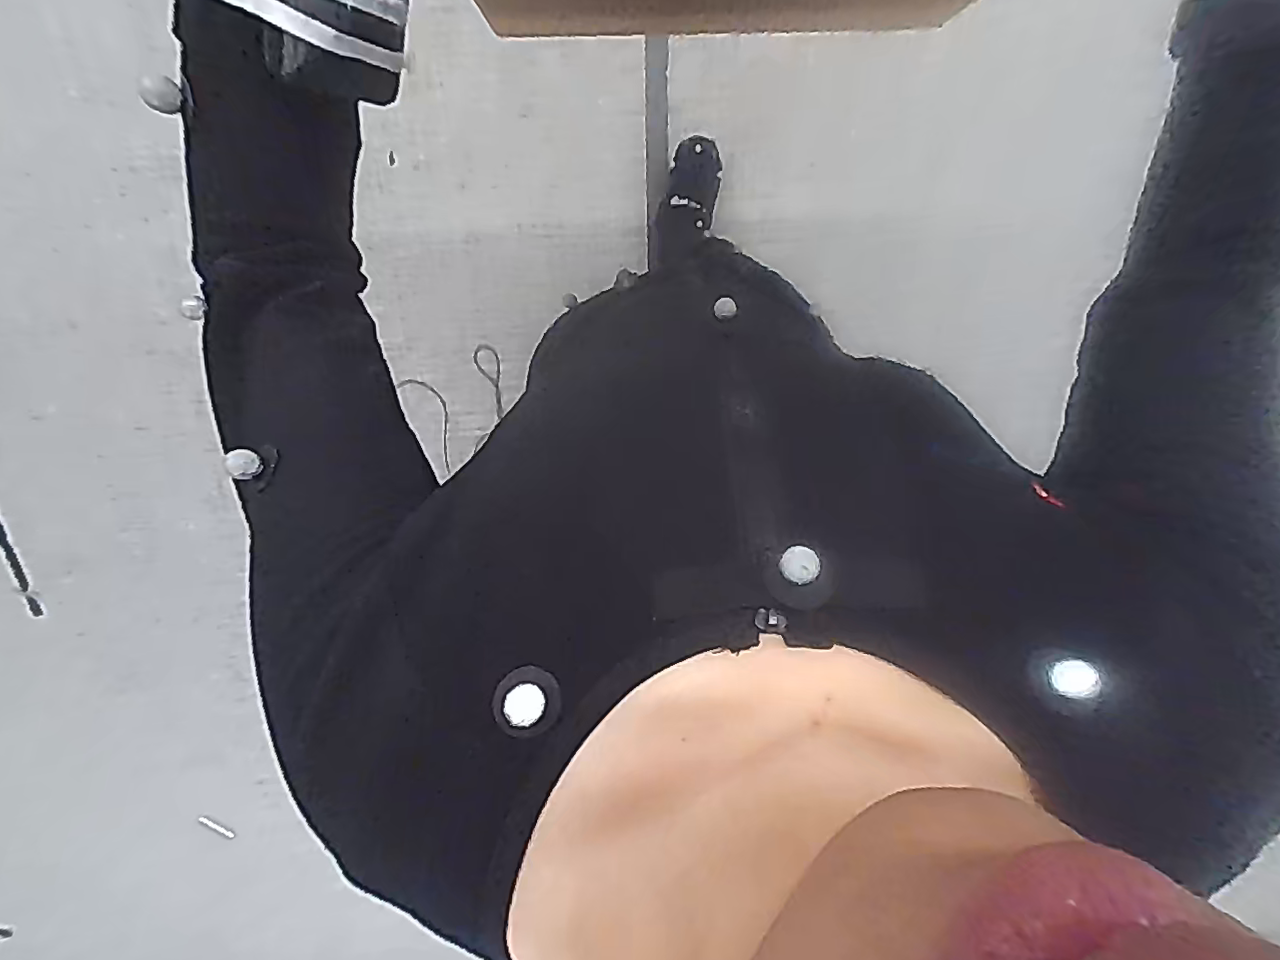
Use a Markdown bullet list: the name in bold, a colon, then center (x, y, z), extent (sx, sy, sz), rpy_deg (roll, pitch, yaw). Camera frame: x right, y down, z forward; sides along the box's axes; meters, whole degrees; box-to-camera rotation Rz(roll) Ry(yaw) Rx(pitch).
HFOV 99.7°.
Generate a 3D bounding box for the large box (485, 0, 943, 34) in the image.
- **large box**: center (0.067, -0.494, 0.294), extent (0.408, 0.320, 0.320), rpy_deg (-3, 114, -1)
